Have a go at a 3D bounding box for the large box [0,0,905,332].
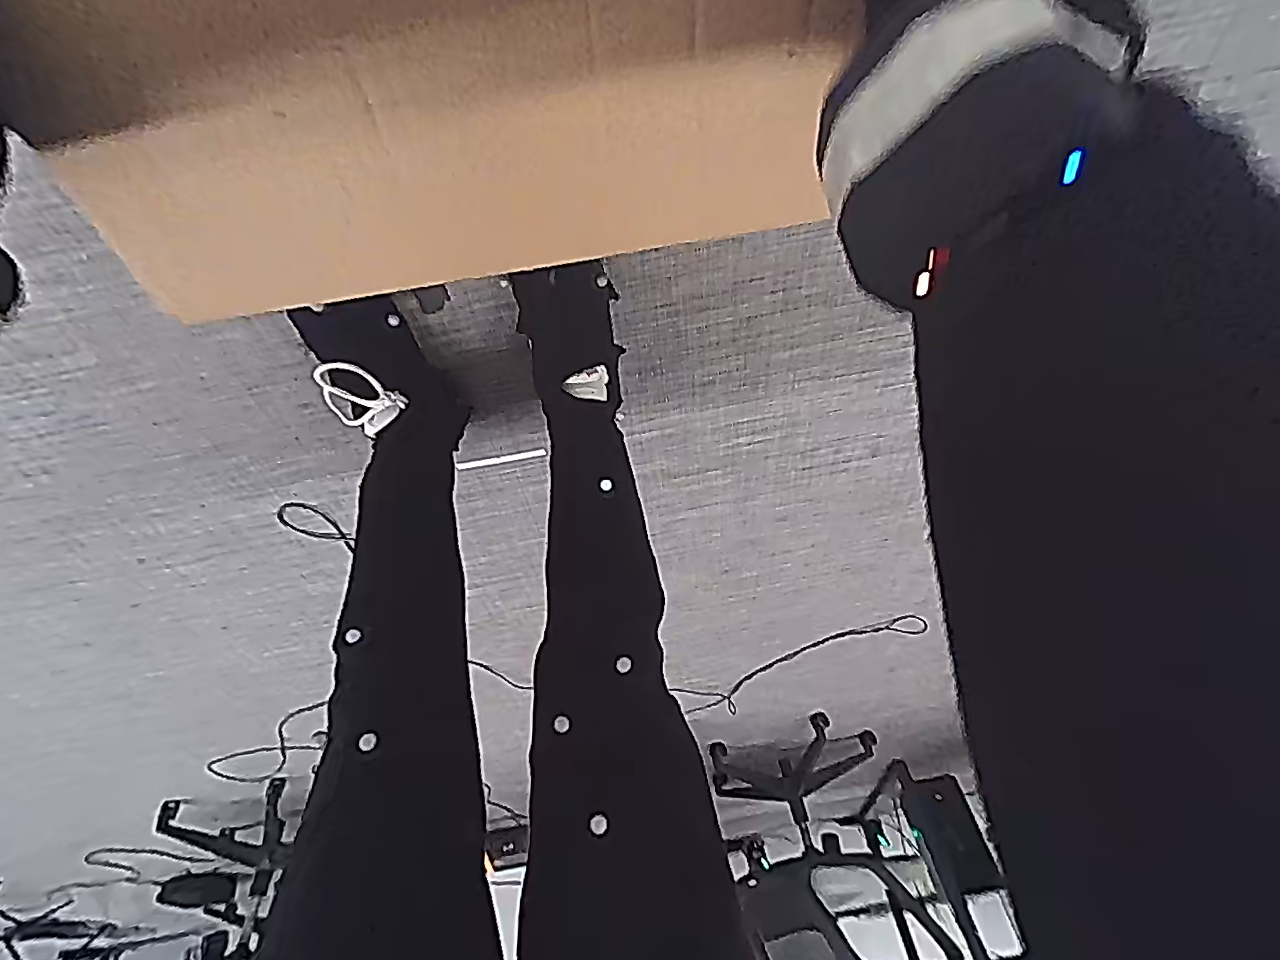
[{"bbox_3d":[-0.100,-0.328,0.309,0.408,0.320,0.320,-10,138,0],"label":"large box"}]
